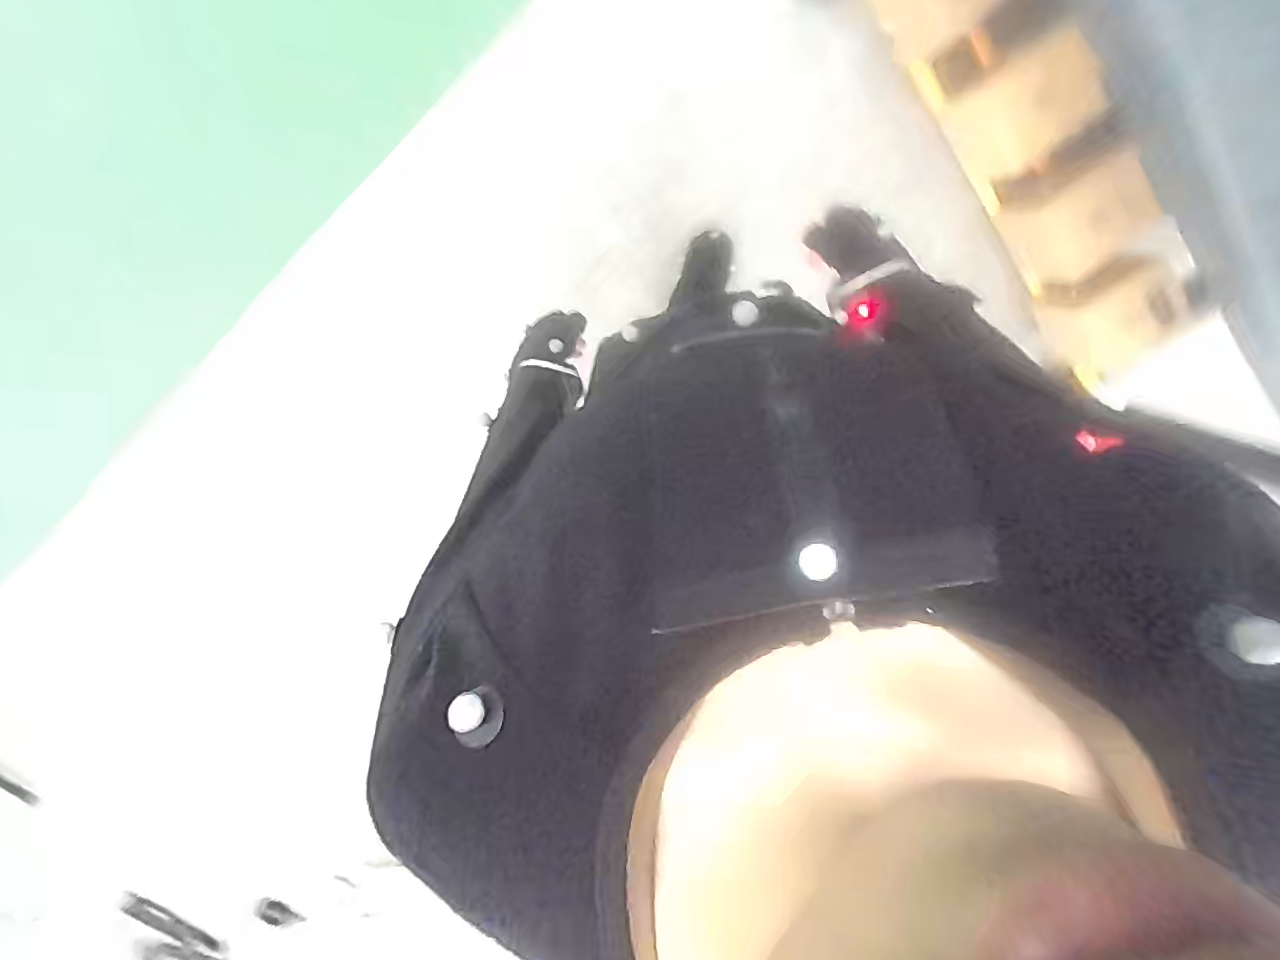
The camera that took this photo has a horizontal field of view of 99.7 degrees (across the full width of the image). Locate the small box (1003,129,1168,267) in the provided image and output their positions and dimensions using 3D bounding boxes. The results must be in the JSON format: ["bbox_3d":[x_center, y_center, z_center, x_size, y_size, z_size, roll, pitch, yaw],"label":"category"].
[{"bbox_3d":[0.873,-0.553,1.085,0.179,0.176,0.168,-38,106,17],"label":"small box"}]

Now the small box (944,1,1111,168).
[{"bbox_3d":[0.710,-0.723,1.017,0.179,0.176,0.168,-37,108,16],"label":"small box"}]
